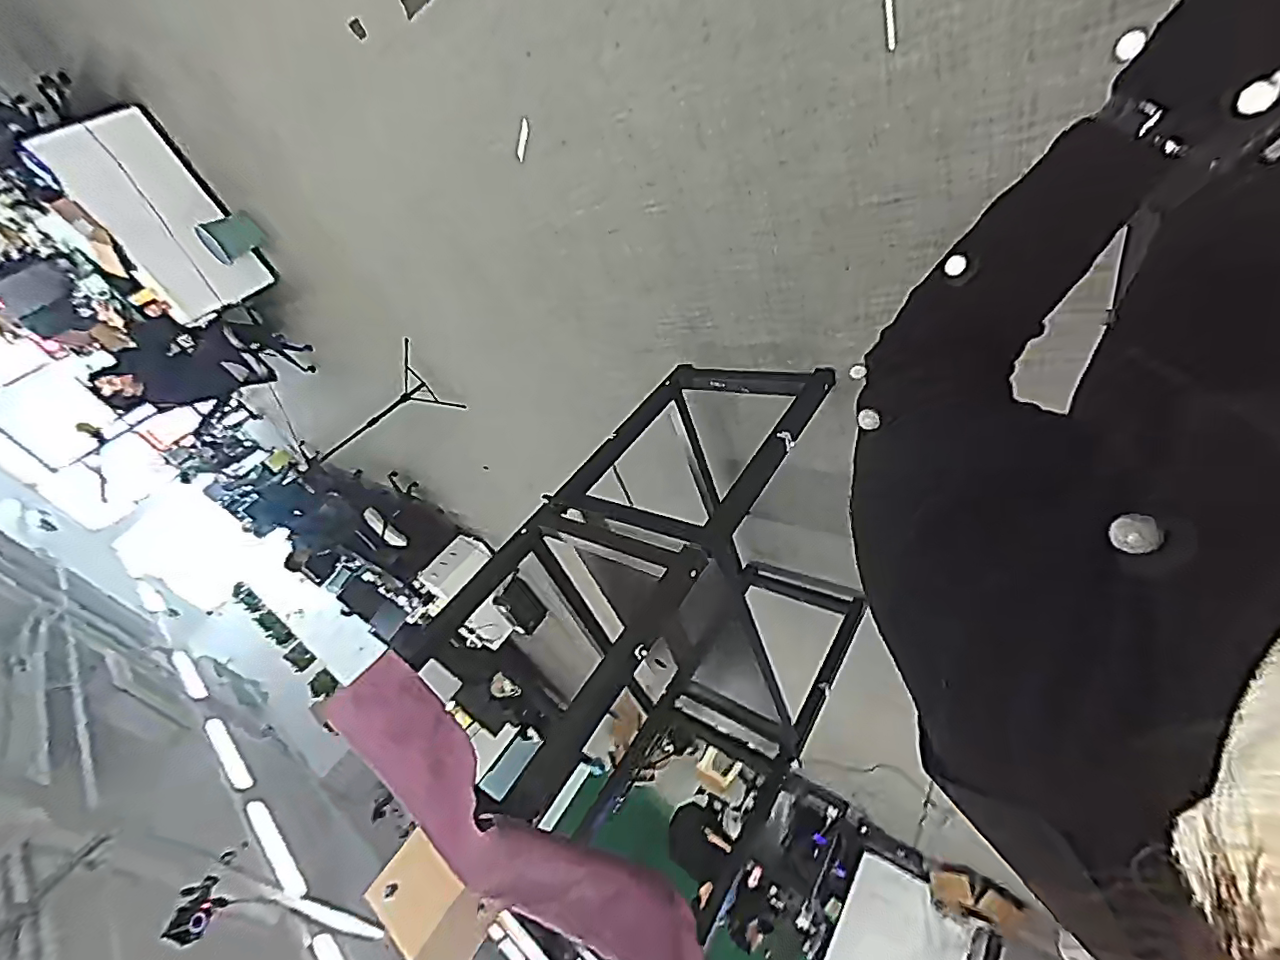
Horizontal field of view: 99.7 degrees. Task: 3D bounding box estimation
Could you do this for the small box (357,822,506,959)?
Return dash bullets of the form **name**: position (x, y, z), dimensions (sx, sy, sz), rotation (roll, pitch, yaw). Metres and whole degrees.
- **small box**: position (-0.396, 0.799, 1.046), dimensions (0.179, 0.176, 0.168), rotation (16, 143, 37)
